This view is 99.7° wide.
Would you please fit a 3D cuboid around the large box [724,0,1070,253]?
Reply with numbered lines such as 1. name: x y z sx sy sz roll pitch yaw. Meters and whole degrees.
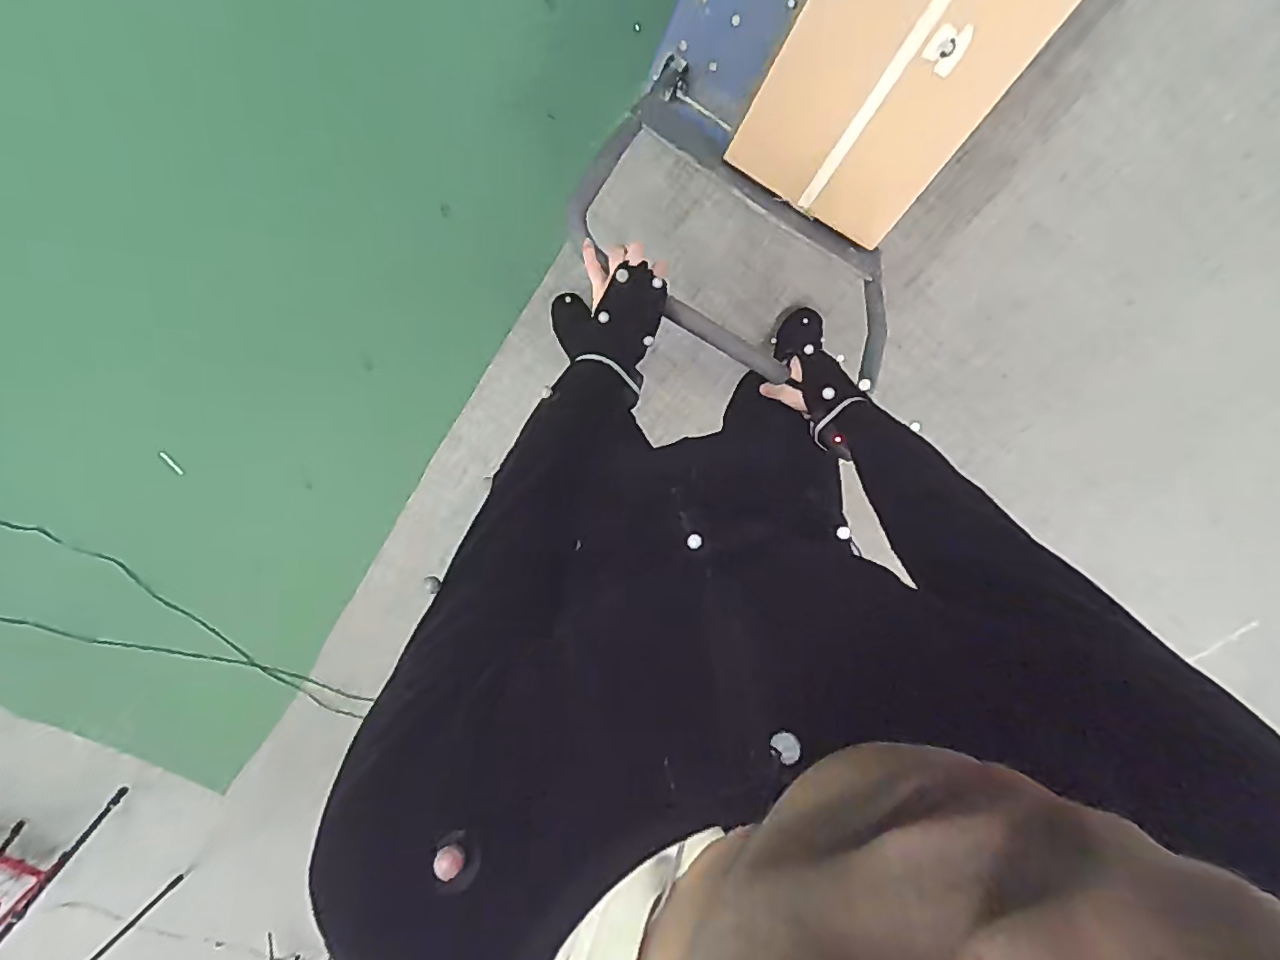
1. large box: 0.389 -0.692 0.928 0.320 0.320 0.408 27 135 -11
